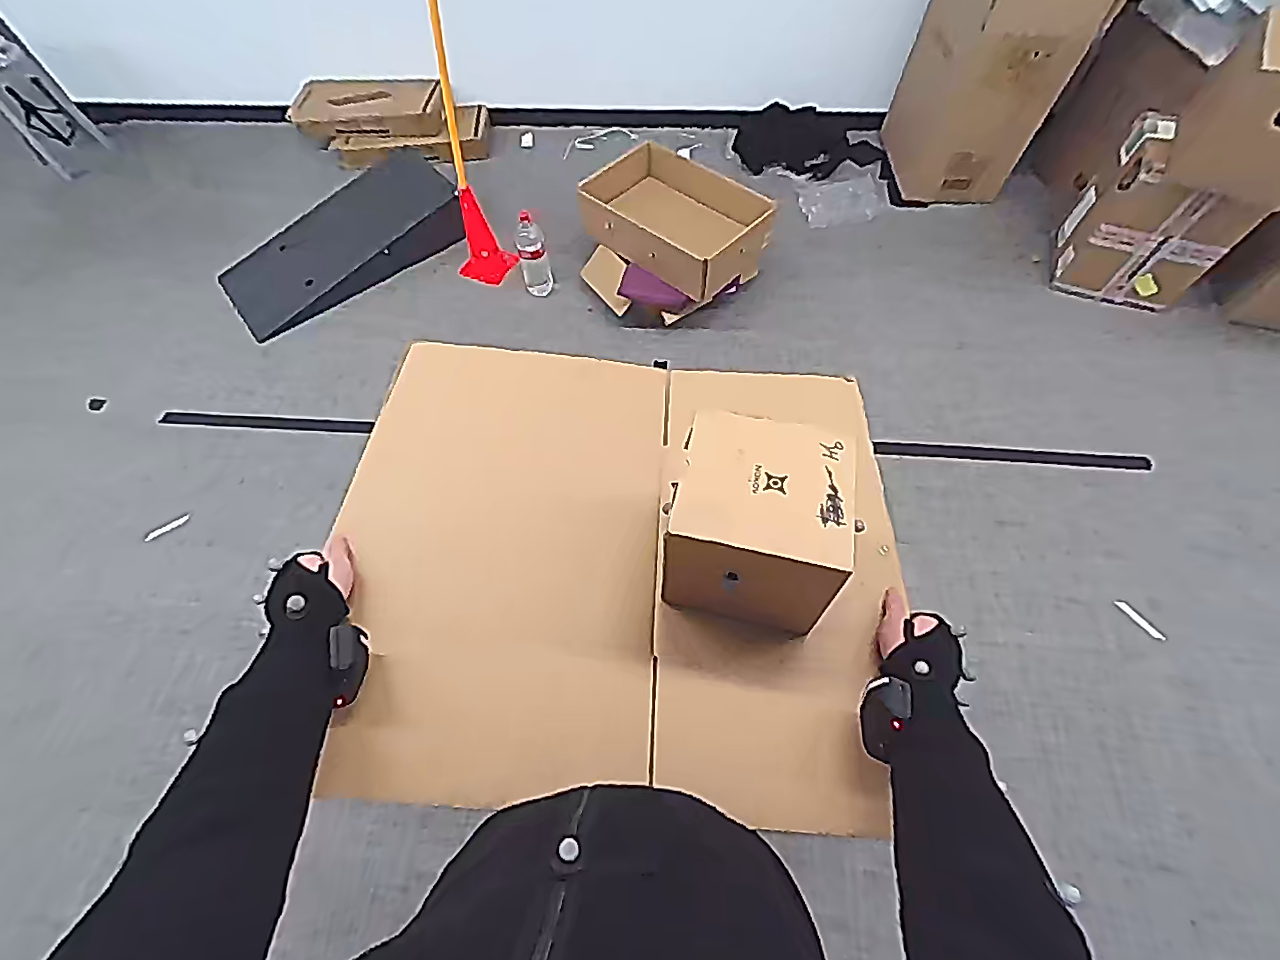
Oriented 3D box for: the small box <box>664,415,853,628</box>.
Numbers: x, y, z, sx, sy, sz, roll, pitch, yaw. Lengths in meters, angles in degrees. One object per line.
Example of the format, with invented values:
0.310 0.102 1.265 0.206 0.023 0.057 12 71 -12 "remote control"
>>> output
0.128 0.052 0.617 0.179 0.176 0.168 11 57 9 "small box"
